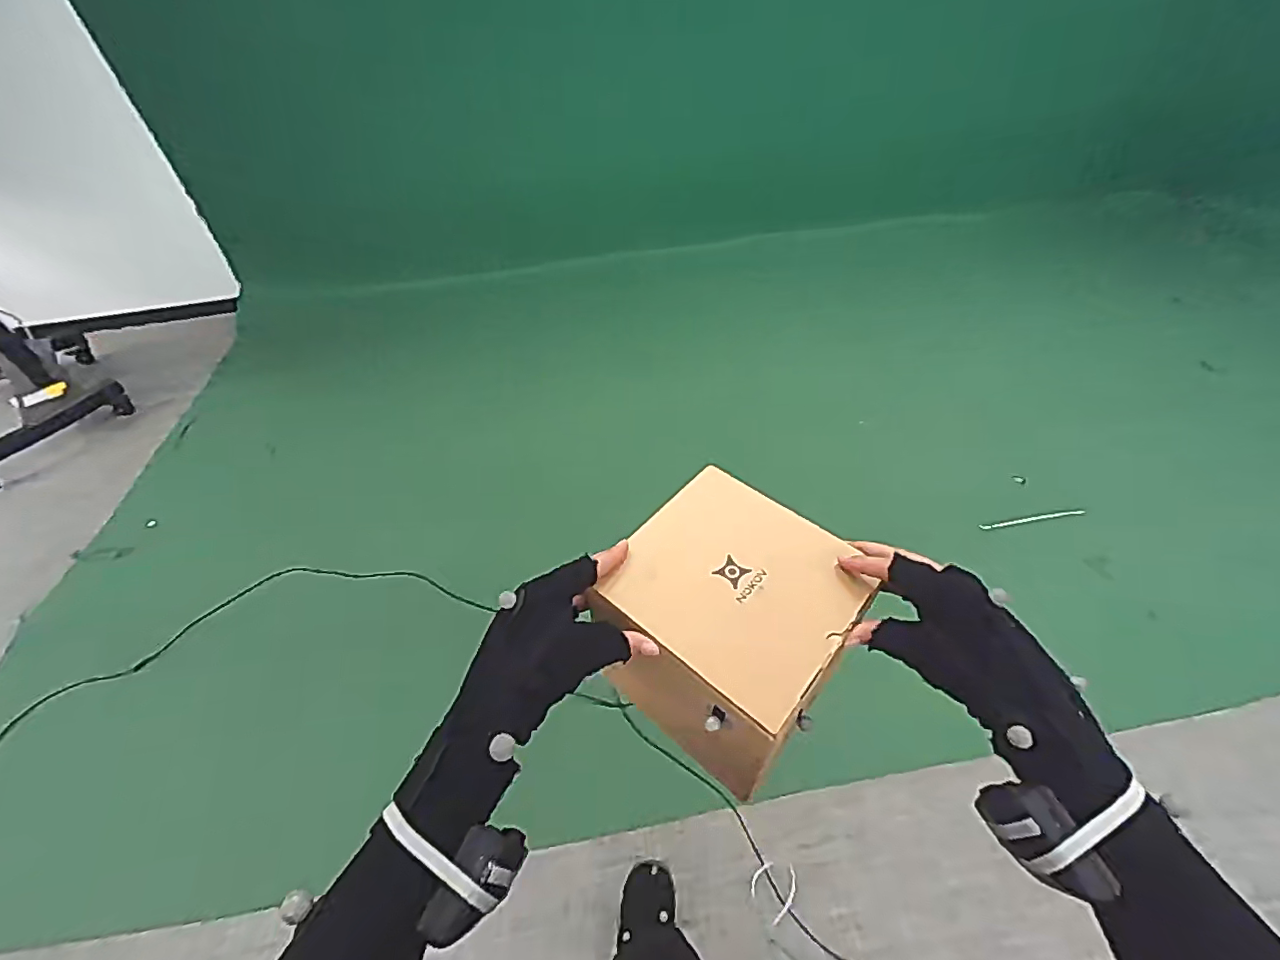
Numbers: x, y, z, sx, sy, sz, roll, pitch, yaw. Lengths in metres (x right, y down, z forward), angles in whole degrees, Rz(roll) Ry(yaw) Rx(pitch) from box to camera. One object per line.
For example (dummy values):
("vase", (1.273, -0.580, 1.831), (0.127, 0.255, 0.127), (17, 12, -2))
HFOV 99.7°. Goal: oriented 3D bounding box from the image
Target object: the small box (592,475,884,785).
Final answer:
("small box", (0.077, 0.134, 0.485), (0.179, 0.176, 0.168), (33, 56, 27))
